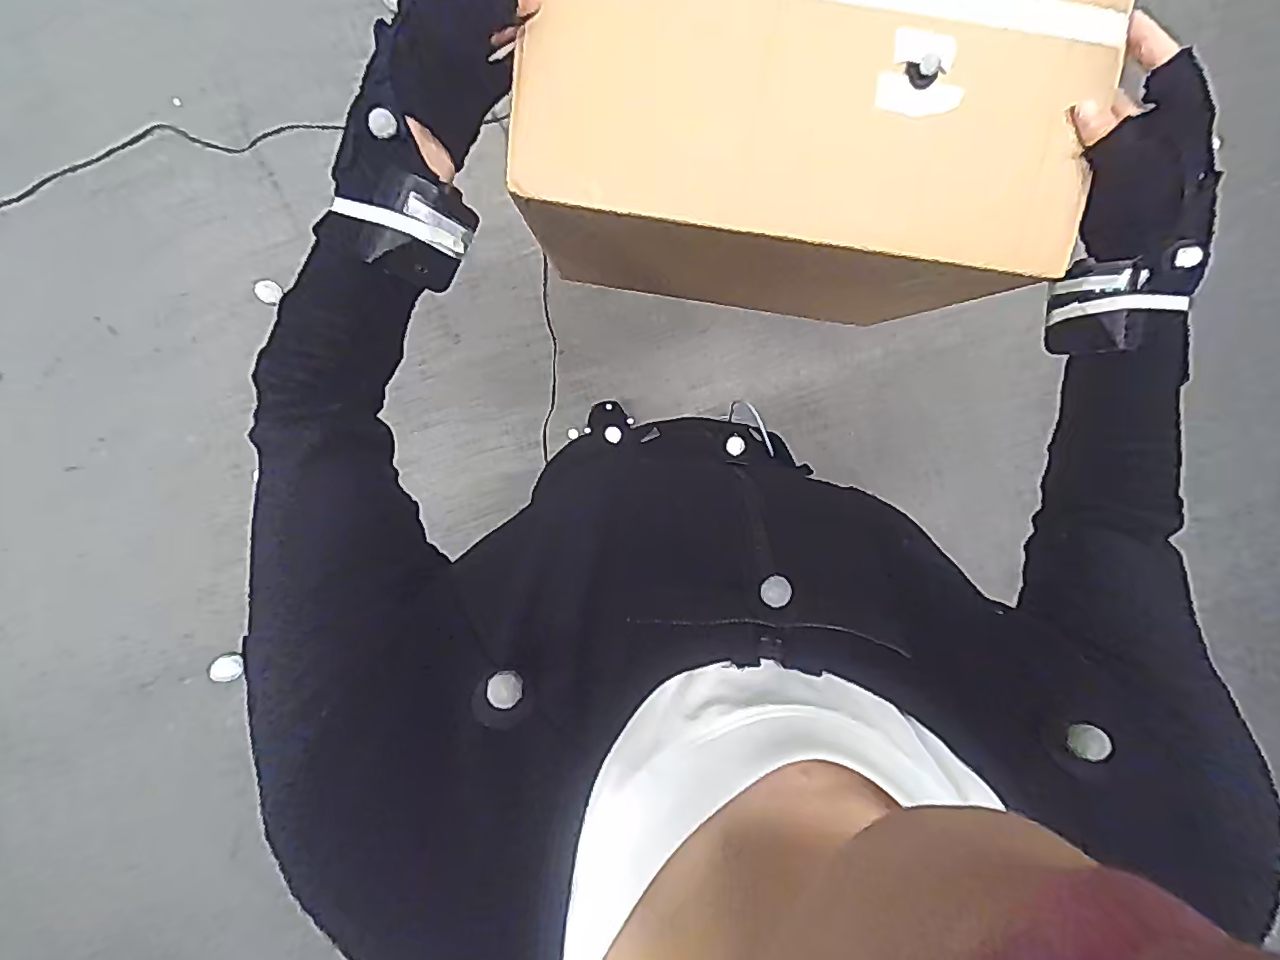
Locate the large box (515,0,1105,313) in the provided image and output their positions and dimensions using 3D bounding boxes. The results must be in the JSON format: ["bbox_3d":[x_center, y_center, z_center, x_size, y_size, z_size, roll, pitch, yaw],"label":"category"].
[{"bbox_3d":[0.116,-0.357,0.515,0.408,0.320,0.320,6,100,-3],"label":"large box"}]
